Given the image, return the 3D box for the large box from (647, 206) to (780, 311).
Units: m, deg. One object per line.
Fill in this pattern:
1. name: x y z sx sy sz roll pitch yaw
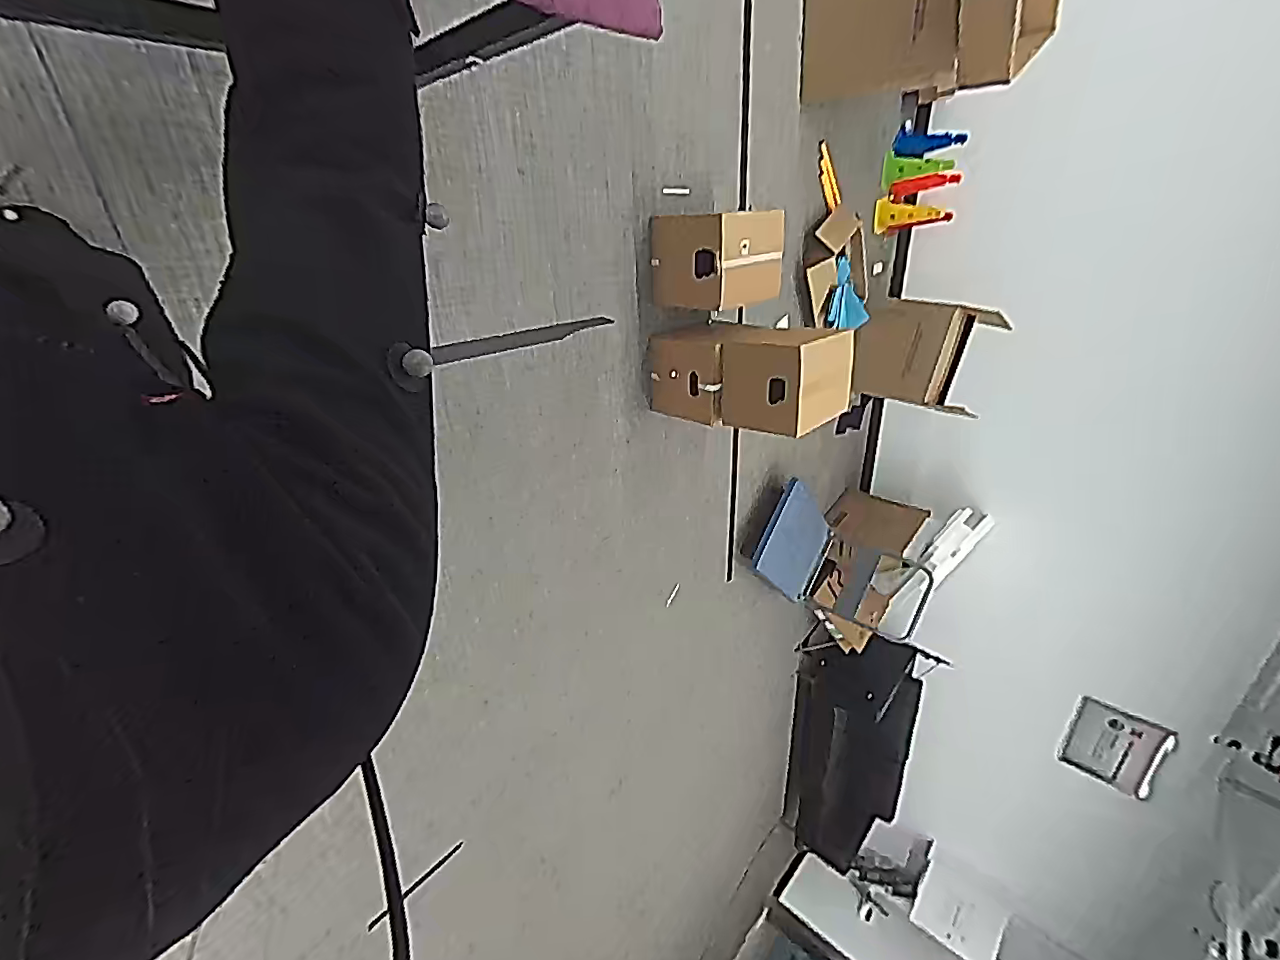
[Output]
1. large box: 0.274 -0.833 2.011 0.408 0.320 0.320 -28 125 -40
